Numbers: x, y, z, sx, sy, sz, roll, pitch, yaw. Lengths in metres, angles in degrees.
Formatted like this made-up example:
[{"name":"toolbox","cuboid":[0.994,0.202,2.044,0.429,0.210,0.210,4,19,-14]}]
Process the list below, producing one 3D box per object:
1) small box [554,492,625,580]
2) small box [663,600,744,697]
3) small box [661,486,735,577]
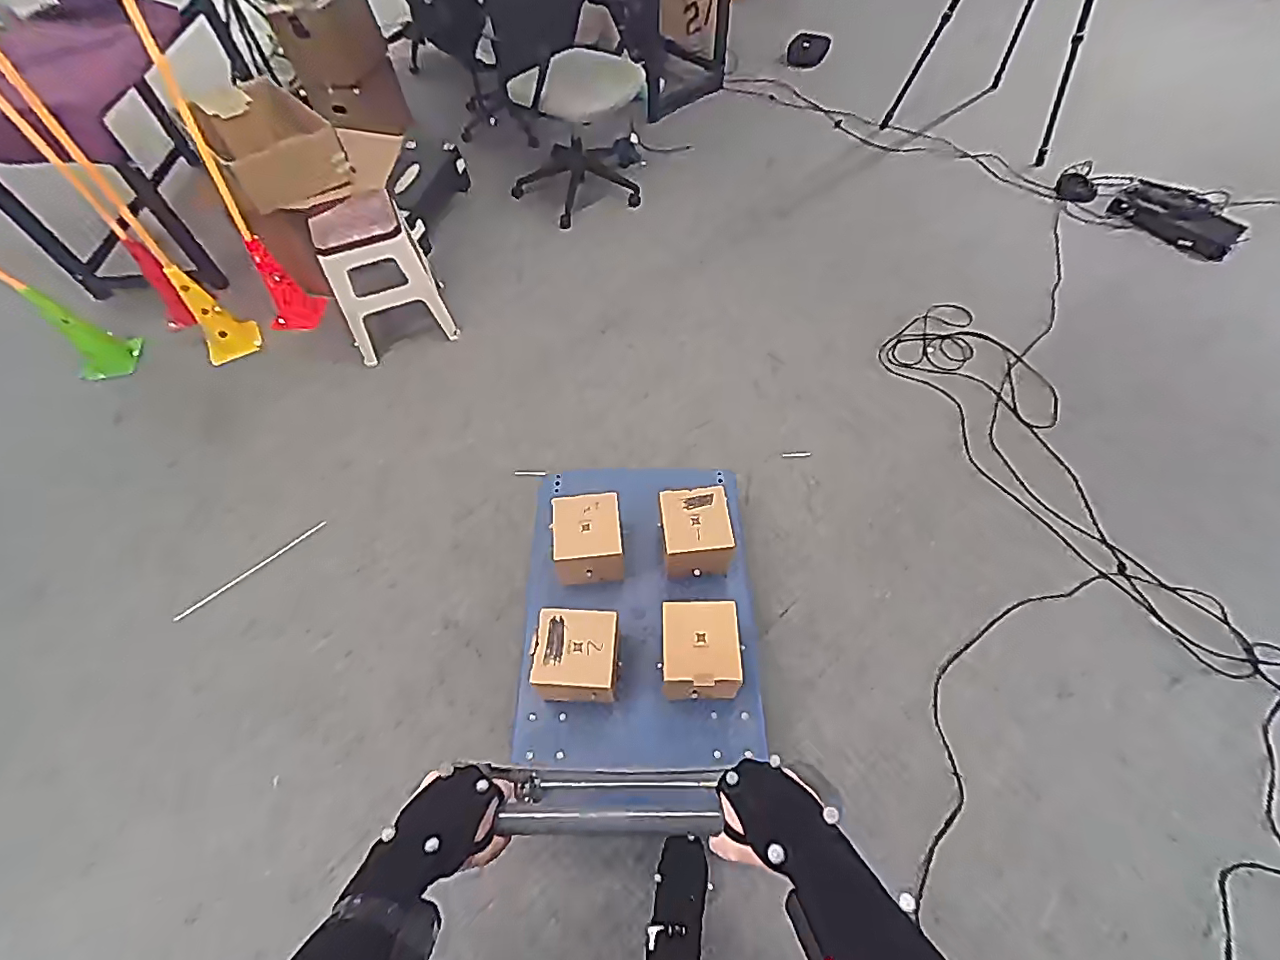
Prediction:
[{"name":"small box","cuboid":[-0.128,0.151,1.396,0.168,0.176,0.179,-5,58,-2]},{"name":"small box","cuboid":[0.137,0.388,1.240,0.168,0.176,0.179,-1,58,1]},{"name":"small box","cuboid":[0.143,0.136,1.397,0.168,0.176,0.179,-5,59,-1]}]
